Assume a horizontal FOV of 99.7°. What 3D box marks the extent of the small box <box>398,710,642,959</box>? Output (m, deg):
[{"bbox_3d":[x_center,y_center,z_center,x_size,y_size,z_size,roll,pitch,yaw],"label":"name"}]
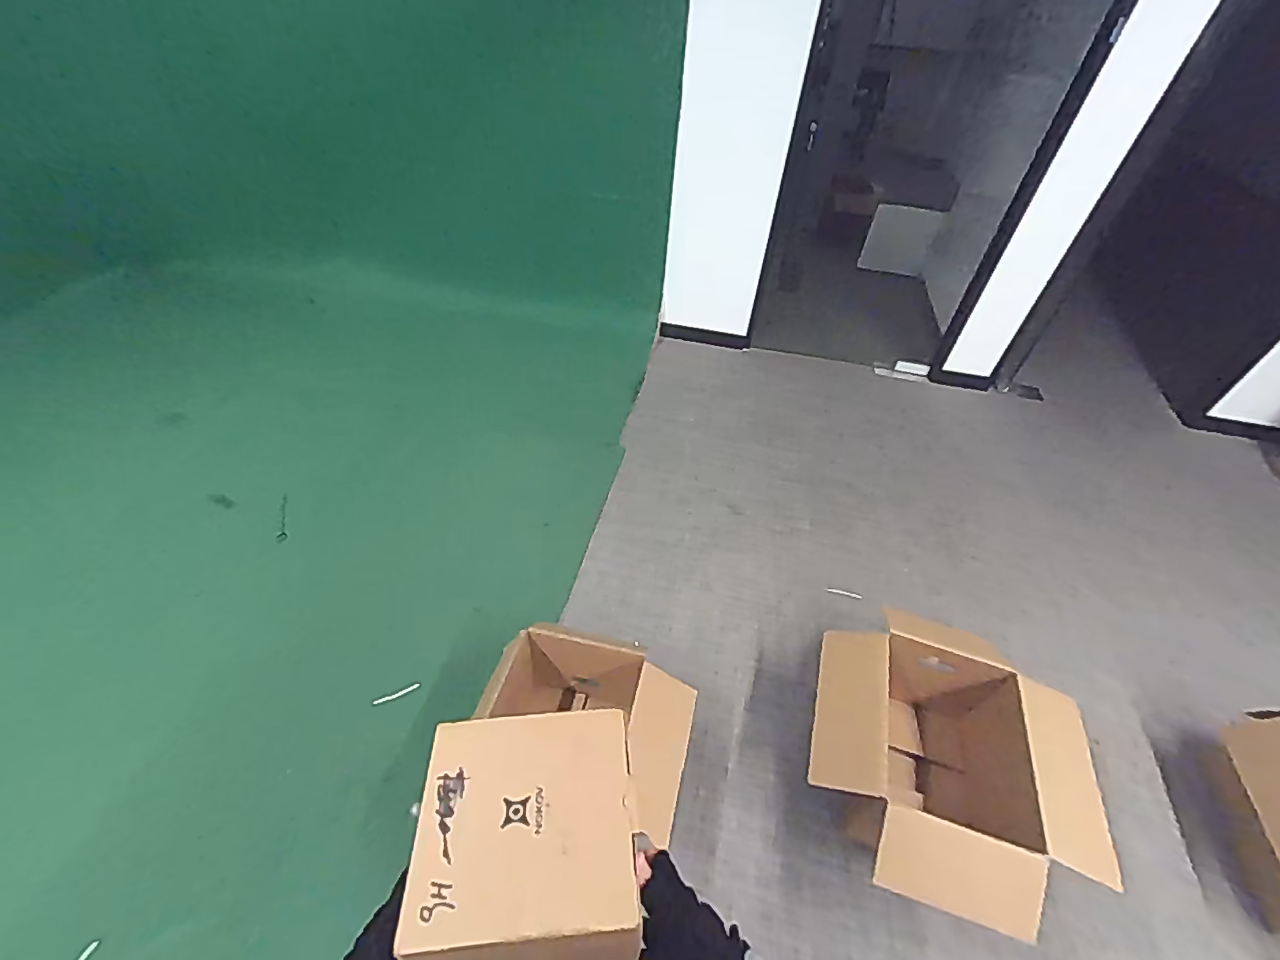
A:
[{"bbox_3d":[-0.095,0.335,0.500,0.179,0.176,0.168,-1,39,-5],"label":"small box"}]
